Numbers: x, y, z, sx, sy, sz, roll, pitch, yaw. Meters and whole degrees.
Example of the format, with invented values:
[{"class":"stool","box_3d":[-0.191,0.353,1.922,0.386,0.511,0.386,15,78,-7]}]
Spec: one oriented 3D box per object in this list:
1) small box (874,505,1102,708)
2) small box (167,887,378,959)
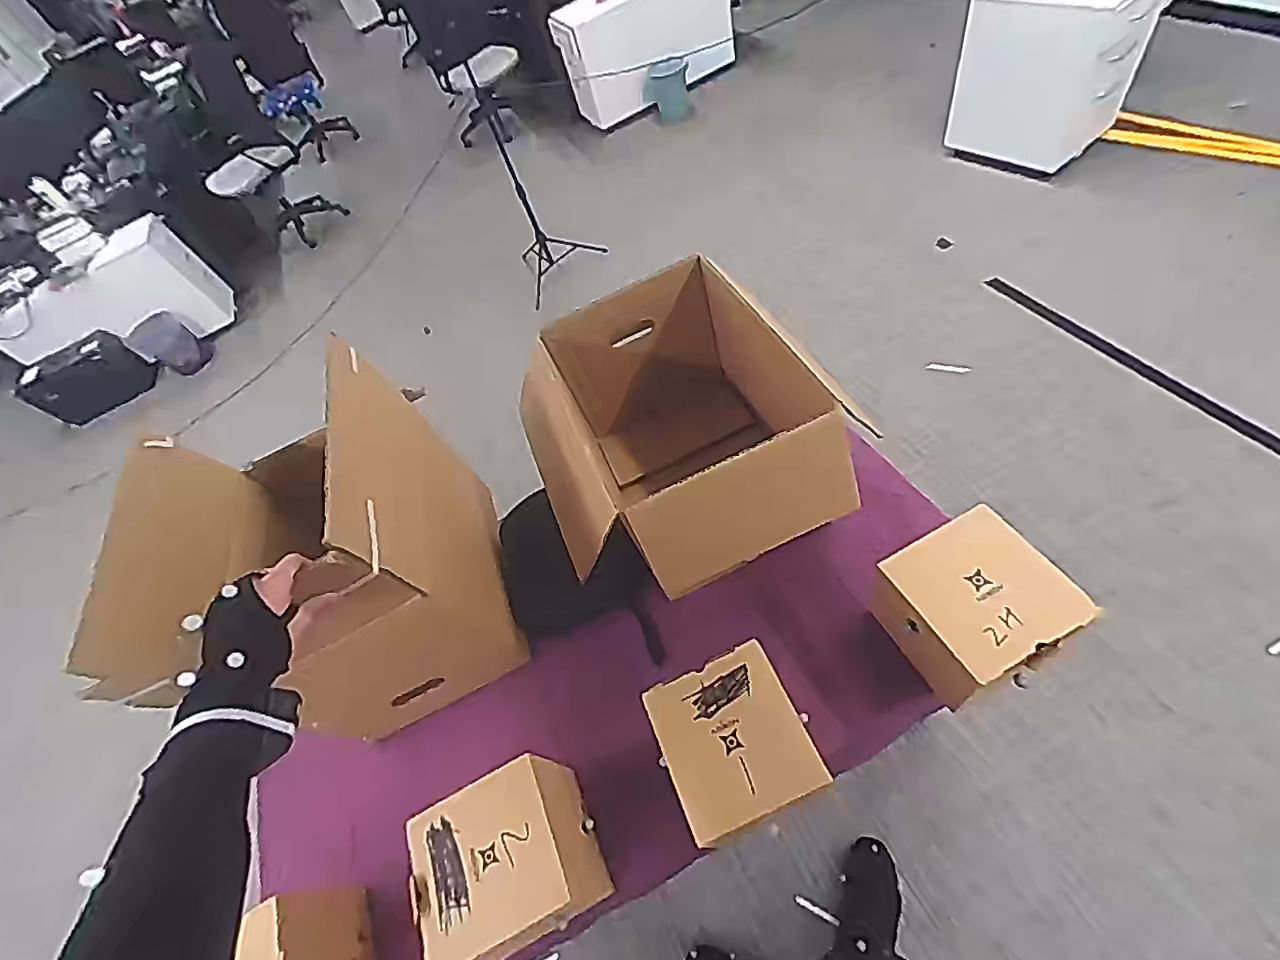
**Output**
[{"class":"small box","box_3d":[0.433,0.171,0.714,0.168,0.176,0.179,-30,54,-1]},{"class":"small box","box_3d":[-0.461,0.649,0.680,0.179,0.176,0.168,-30,53,-5]}]
